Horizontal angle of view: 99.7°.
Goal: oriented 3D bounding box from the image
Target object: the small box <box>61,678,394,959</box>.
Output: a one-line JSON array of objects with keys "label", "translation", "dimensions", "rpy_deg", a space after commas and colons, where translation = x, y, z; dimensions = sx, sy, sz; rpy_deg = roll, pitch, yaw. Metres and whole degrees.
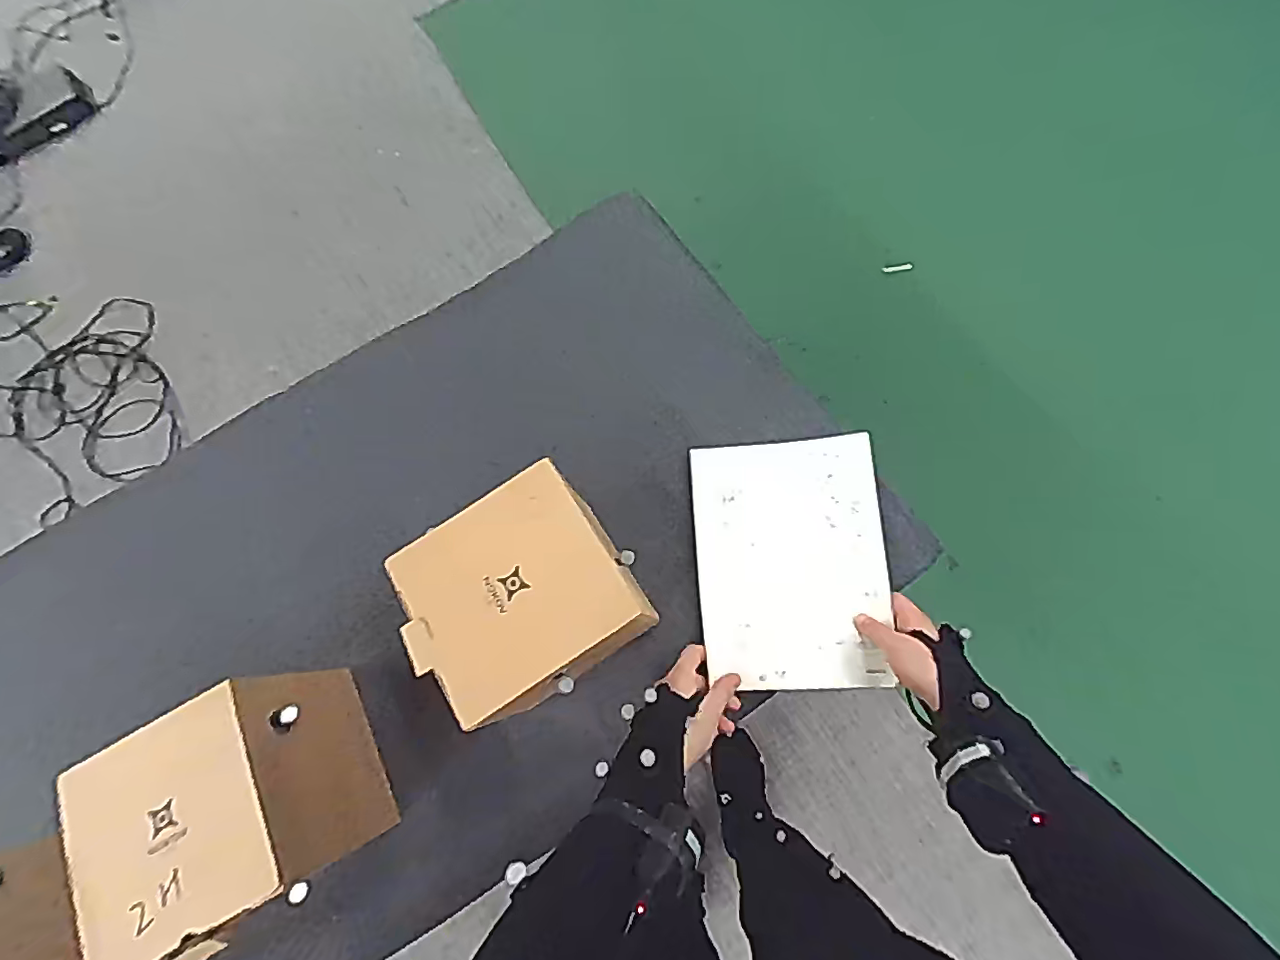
[{"label": "small box", "translation": [-0.374, 0.306, 0.516], "dimensions": [0.168, 0.176, 0.179], "rpy_deg": [-30, 73, -1]}]

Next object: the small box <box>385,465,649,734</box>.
[{"label": "small box", "translation": [-0.103, 0.116, 0.537], "dimensions": [0.179, 0.176, 0.168], "rpy_deg": [-34, 72, -2]}]
